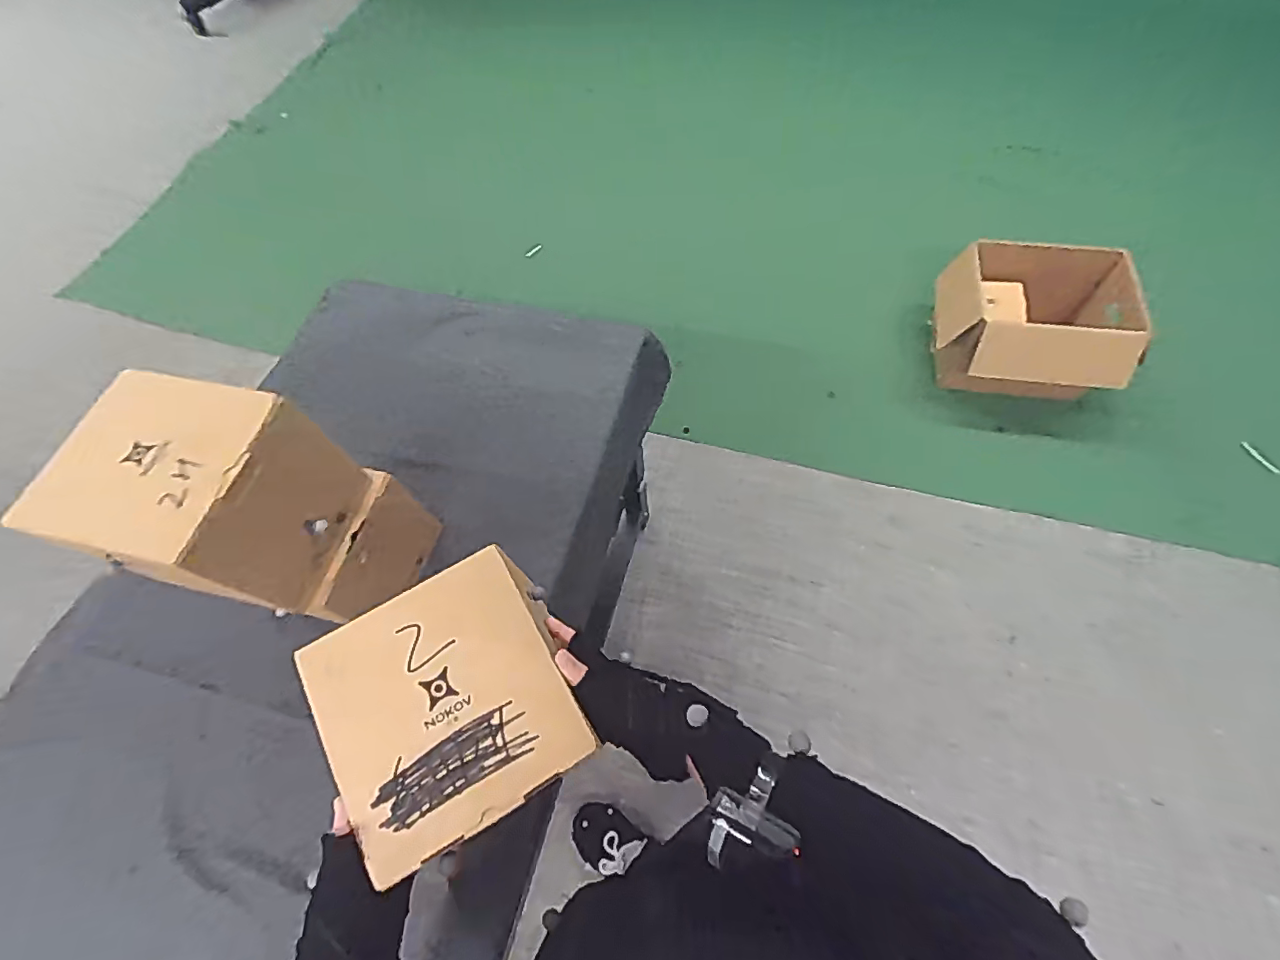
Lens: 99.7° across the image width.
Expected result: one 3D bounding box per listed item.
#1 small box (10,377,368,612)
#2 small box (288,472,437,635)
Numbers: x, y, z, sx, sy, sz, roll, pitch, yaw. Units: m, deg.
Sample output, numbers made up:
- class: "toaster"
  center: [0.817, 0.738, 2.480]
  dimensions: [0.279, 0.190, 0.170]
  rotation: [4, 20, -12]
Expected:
- class: "small box"
  center: [-0.421, 0.022, 0.542]
  dimensions: [0.179, 0.176, 0.168]
  rotation: [10, 64, 9]
- class: "small box"
  center: [-0.392, 0.089, 0.690]
  dimensions: [0.179, 0.176, 0.168]
  rotation: [11, 64, 10]
